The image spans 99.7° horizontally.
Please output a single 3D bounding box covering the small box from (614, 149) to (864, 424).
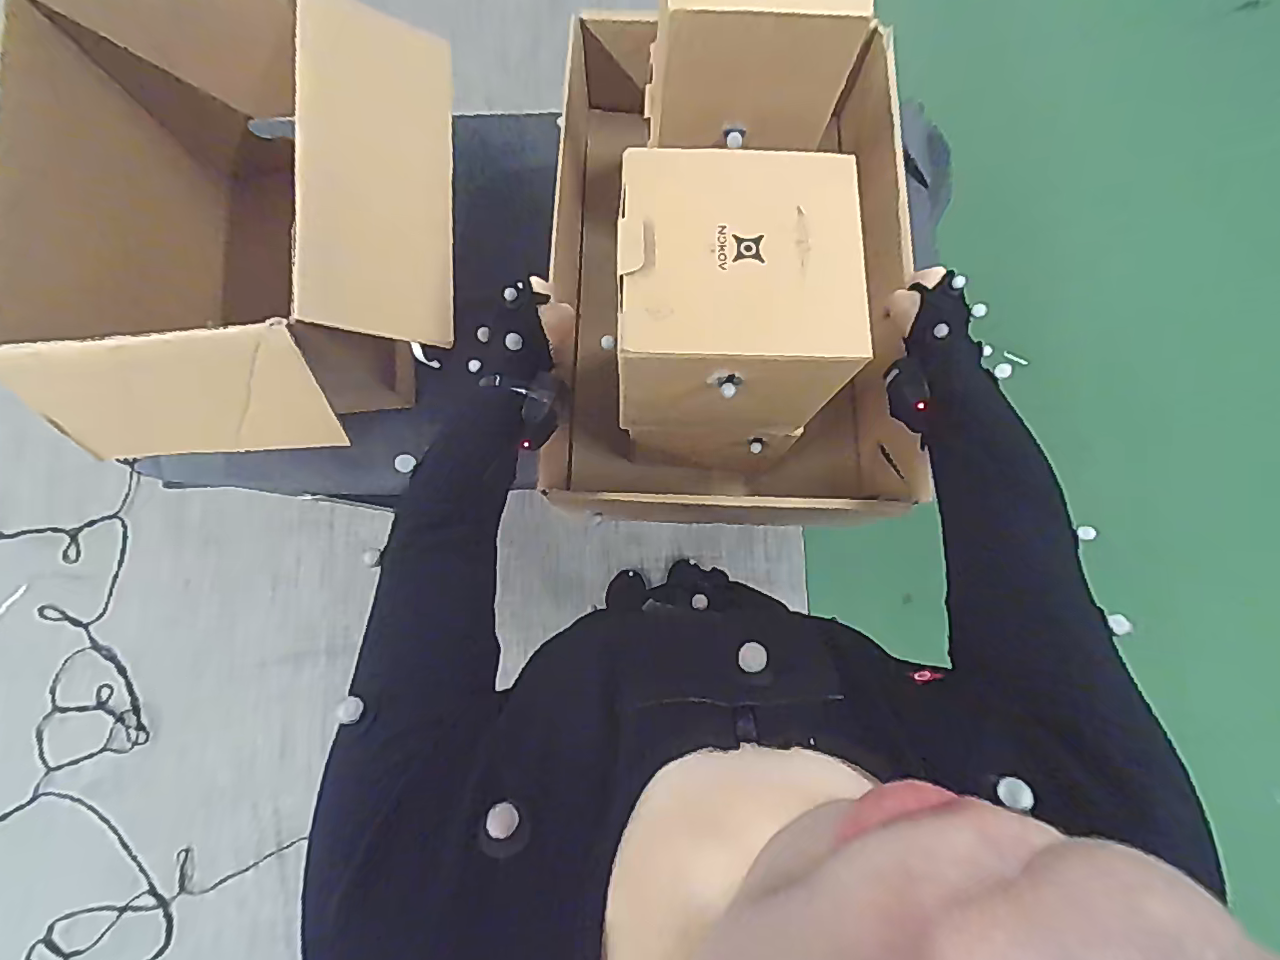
[{"bbox_3d":[0.069,-0.150,0.469,0.179,0.176,0.168,1,79,-2],"label":"small box"}]

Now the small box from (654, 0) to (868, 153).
[{"bbox_3d":[0.100,-0.437,0.522,0.168,0.176,0.179,1,80,-1],"label":"small box"}]
